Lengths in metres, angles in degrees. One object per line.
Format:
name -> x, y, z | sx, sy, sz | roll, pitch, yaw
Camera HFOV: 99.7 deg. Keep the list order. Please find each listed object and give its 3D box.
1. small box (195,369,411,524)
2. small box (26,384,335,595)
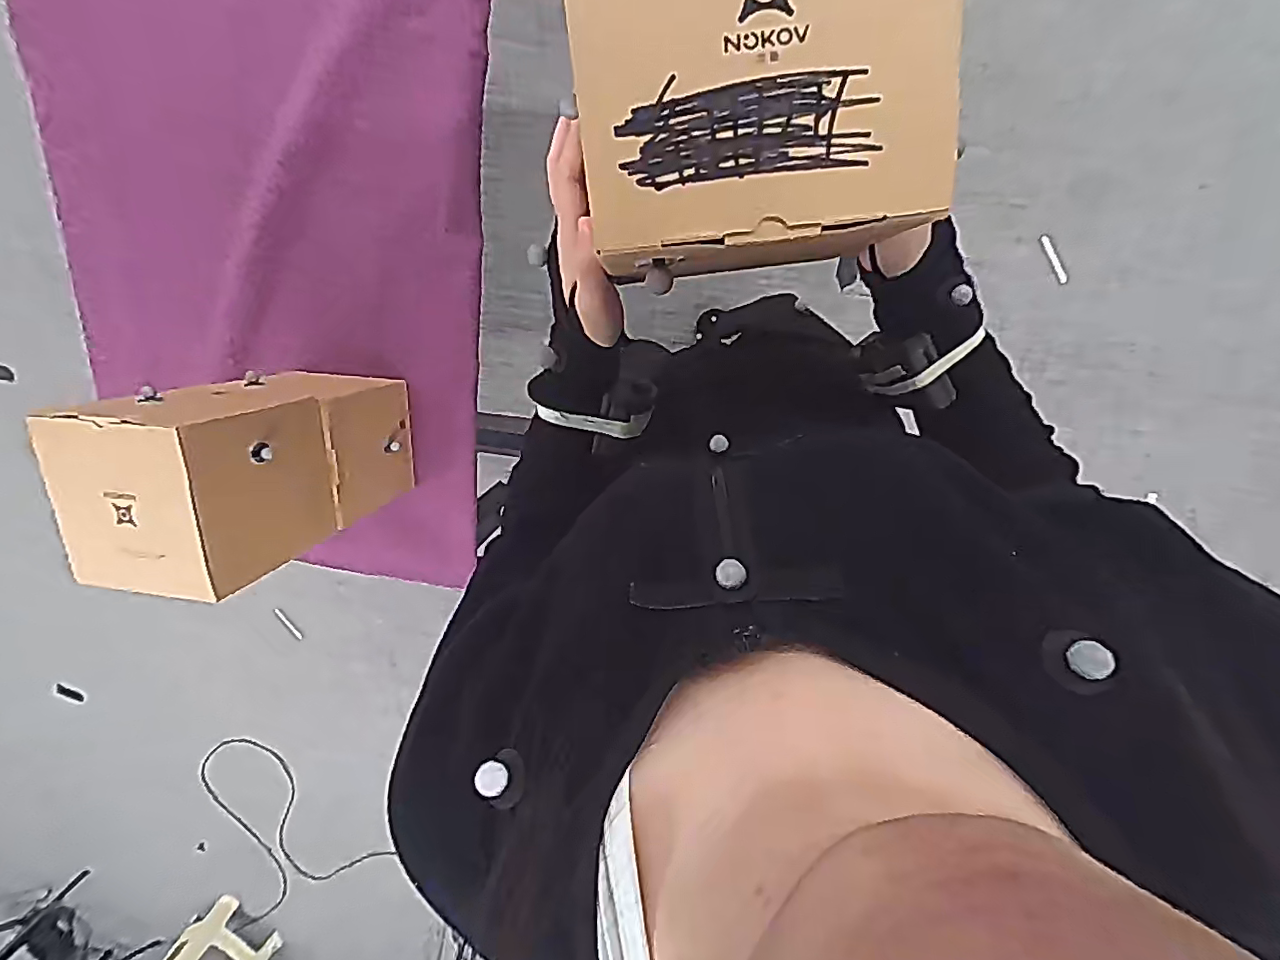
small box -> -0.438, -0.054, 0.729 | 0.179, 0.176, 0.168 | 6, 109, 7
small box -> -0.463, -0.003, 0.578 | 0.168, 0.176, 0.179 | 5, 110, 9
